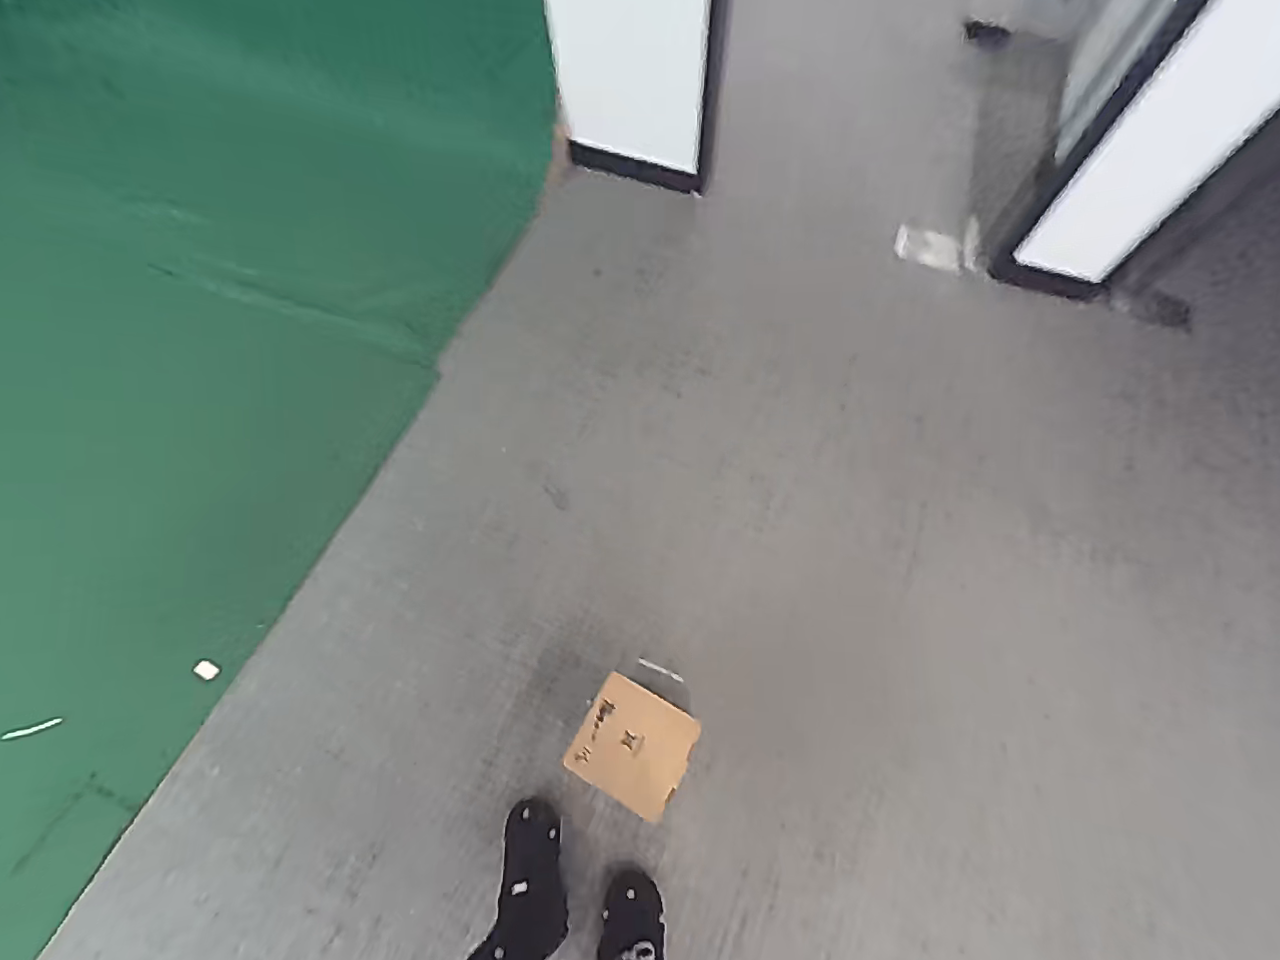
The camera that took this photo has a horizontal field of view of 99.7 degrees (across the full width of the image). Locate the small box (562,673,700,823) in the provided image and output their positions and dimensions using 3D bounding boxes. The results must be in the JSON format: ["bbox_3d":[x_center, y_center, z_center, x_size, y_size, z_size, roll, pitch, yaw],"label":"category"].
[{"bbox_3d":[-0.009,0.456,0.947,0.179,0.176,0.168,24,71,13],"label":"small box"}]
